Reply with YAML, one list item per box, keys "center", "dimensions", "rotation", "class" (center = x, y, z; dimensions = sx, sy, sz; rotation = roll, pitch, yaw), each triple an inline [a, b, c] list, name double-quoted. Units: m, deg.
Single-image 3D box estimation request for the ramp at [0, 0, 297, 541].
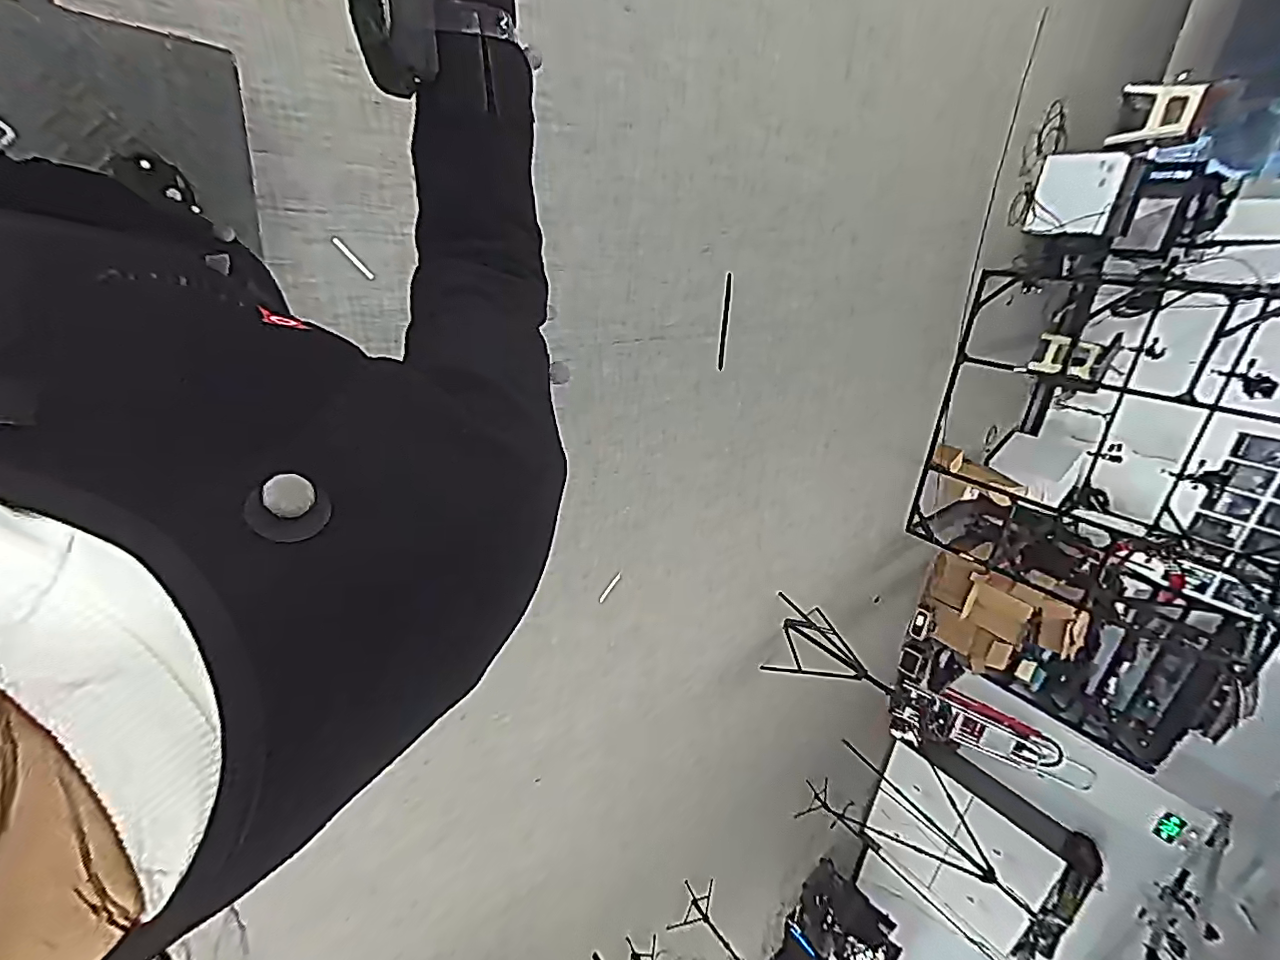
- center: [-1.020, -0.326, 1.074]
  dimensions: [0.509, 0.206, 0.991]
  rotation: [-15, 122, -37]
  class: "ramp"
